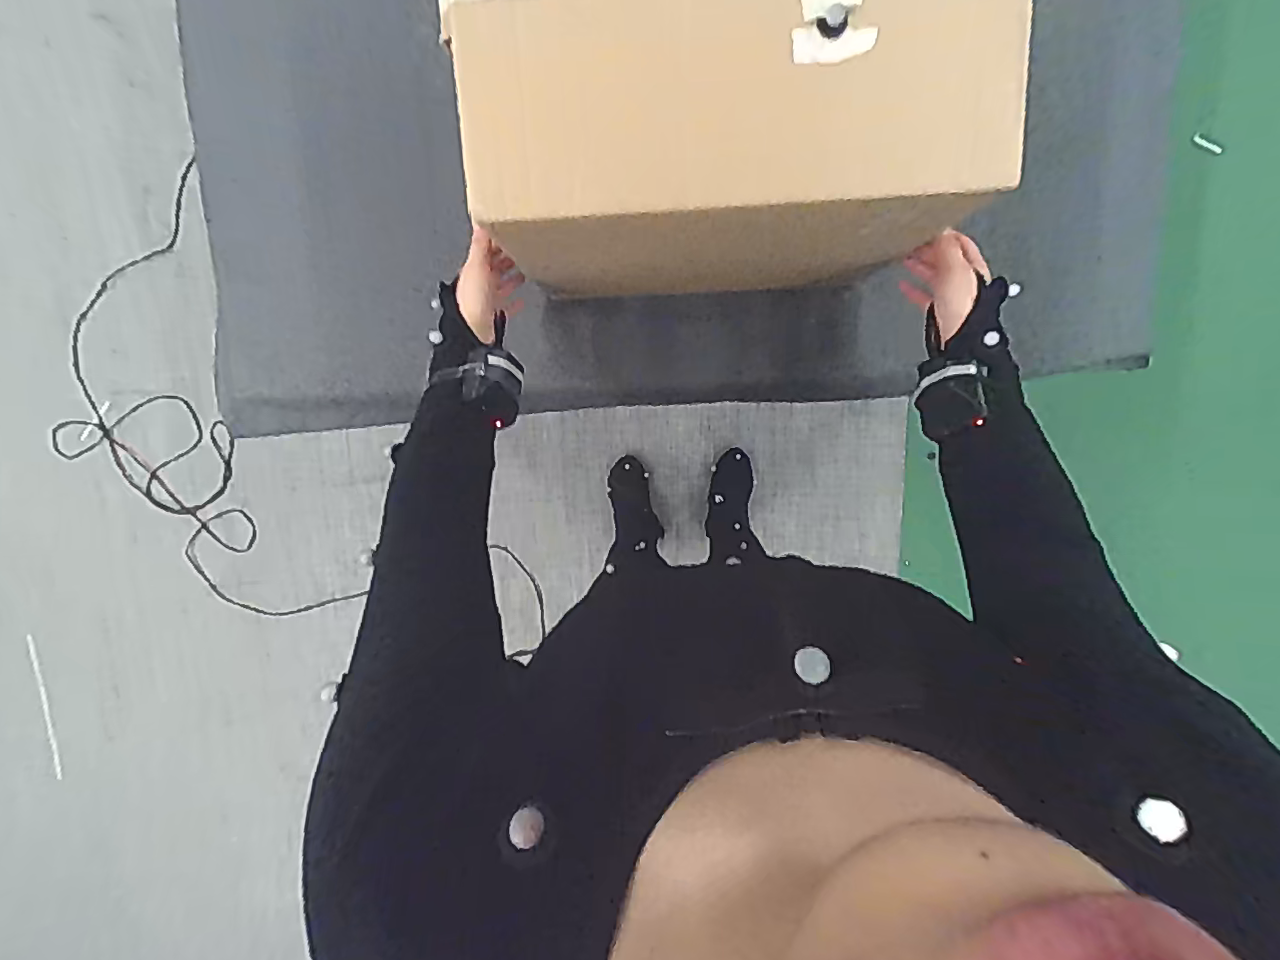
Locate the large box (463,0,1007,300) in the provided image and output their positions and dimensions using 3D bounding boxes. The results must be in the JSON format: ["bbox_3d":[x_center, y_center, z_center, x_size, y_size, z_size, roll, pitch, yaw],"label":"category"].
[{"bbox_3d":[0.067,-0.381,0.542,0.408,0.320,0.320,-3,98,2],"label":"large box"}]
